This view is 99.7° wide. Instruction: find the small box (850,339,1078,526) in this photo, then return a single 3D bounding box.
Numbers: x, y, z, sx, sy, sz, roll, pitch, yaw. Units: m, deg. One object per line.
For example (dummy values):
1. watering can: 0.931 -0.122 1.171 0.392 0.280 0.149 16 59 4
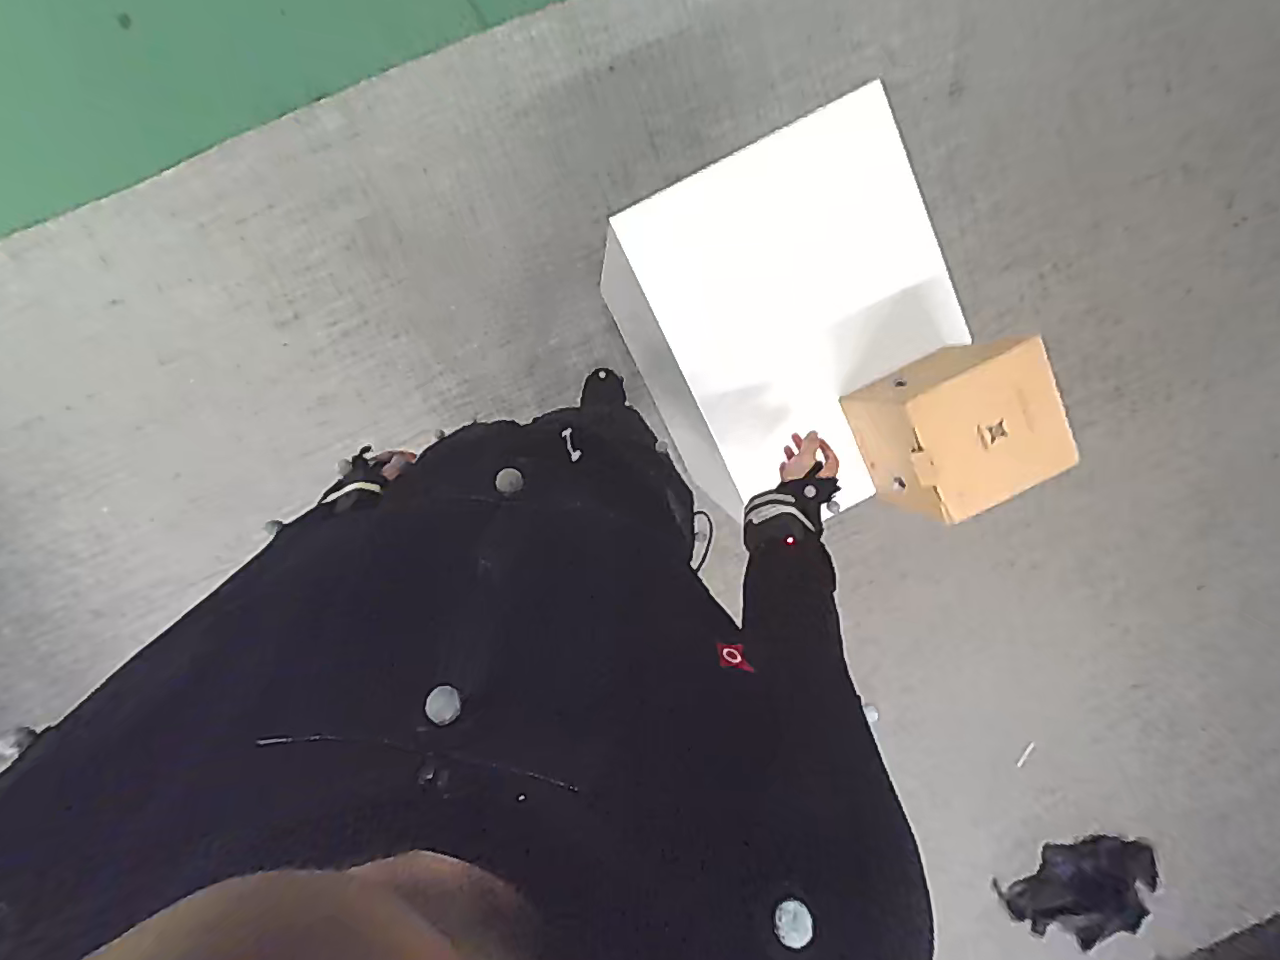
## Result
1. small box: 0.402 -0.065 0.706 0.179 0.176 0.168 -28 102 -1
